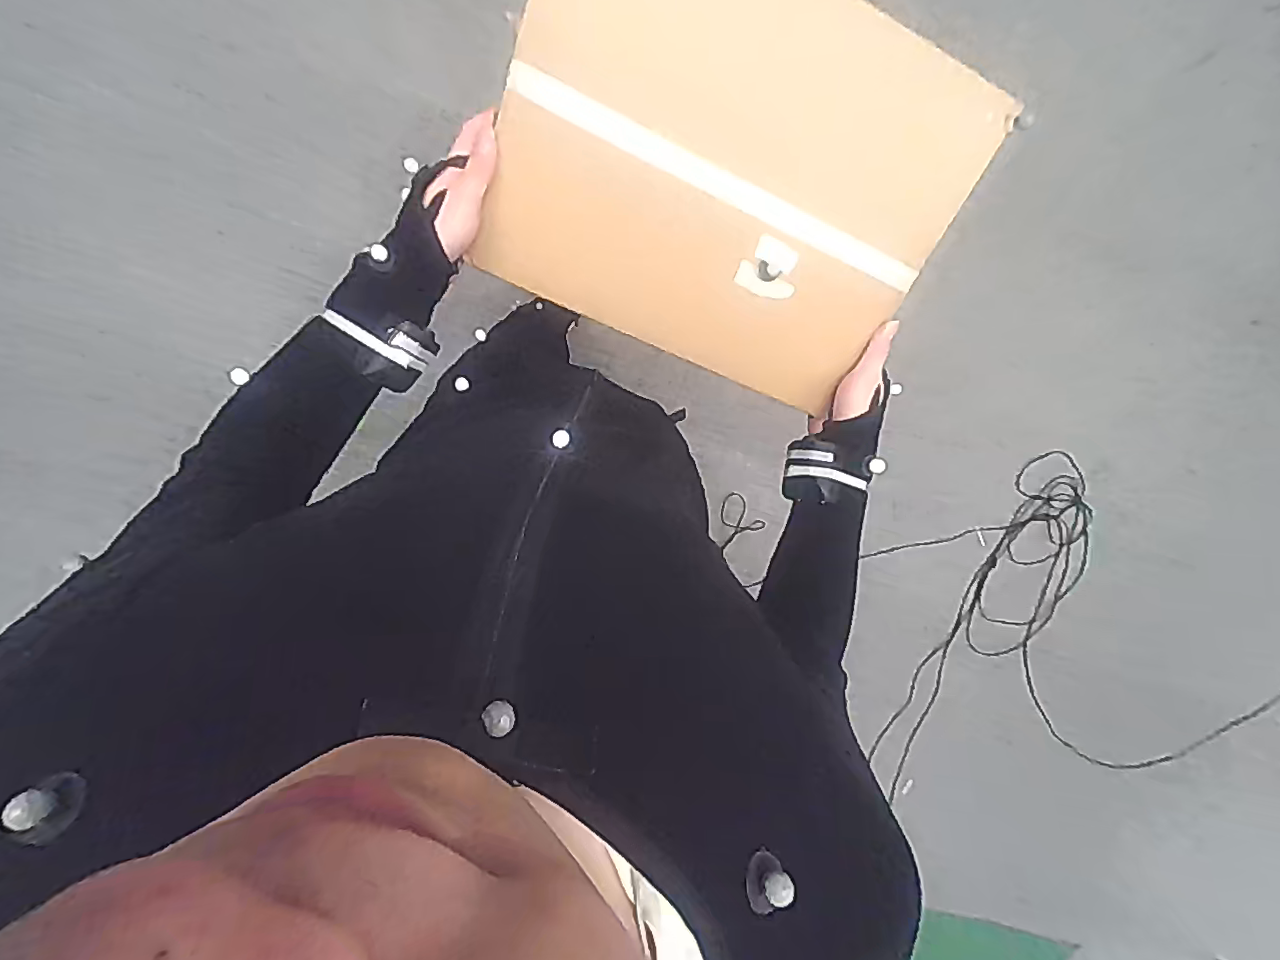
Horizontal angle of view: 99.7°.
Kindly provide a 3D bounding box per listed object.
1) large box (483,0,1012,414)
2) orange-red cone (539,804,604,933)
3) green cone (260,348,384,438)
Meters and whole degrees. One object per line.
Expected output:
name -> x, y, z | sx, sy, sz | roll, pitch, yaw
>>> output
large box -> 0.080, -0.328, 0.624 | 0.408, 0.320, 0.320 | 20, 116, -13
orange-red cone -> -0.234, 1.349, 1.855 | 0.199, 0.360, 0.198 | 25, 103, -15
green cone -> -0.809, -0.183, 1.317 | 0.200, 0.368, 0.202 | 24, 104, -13
